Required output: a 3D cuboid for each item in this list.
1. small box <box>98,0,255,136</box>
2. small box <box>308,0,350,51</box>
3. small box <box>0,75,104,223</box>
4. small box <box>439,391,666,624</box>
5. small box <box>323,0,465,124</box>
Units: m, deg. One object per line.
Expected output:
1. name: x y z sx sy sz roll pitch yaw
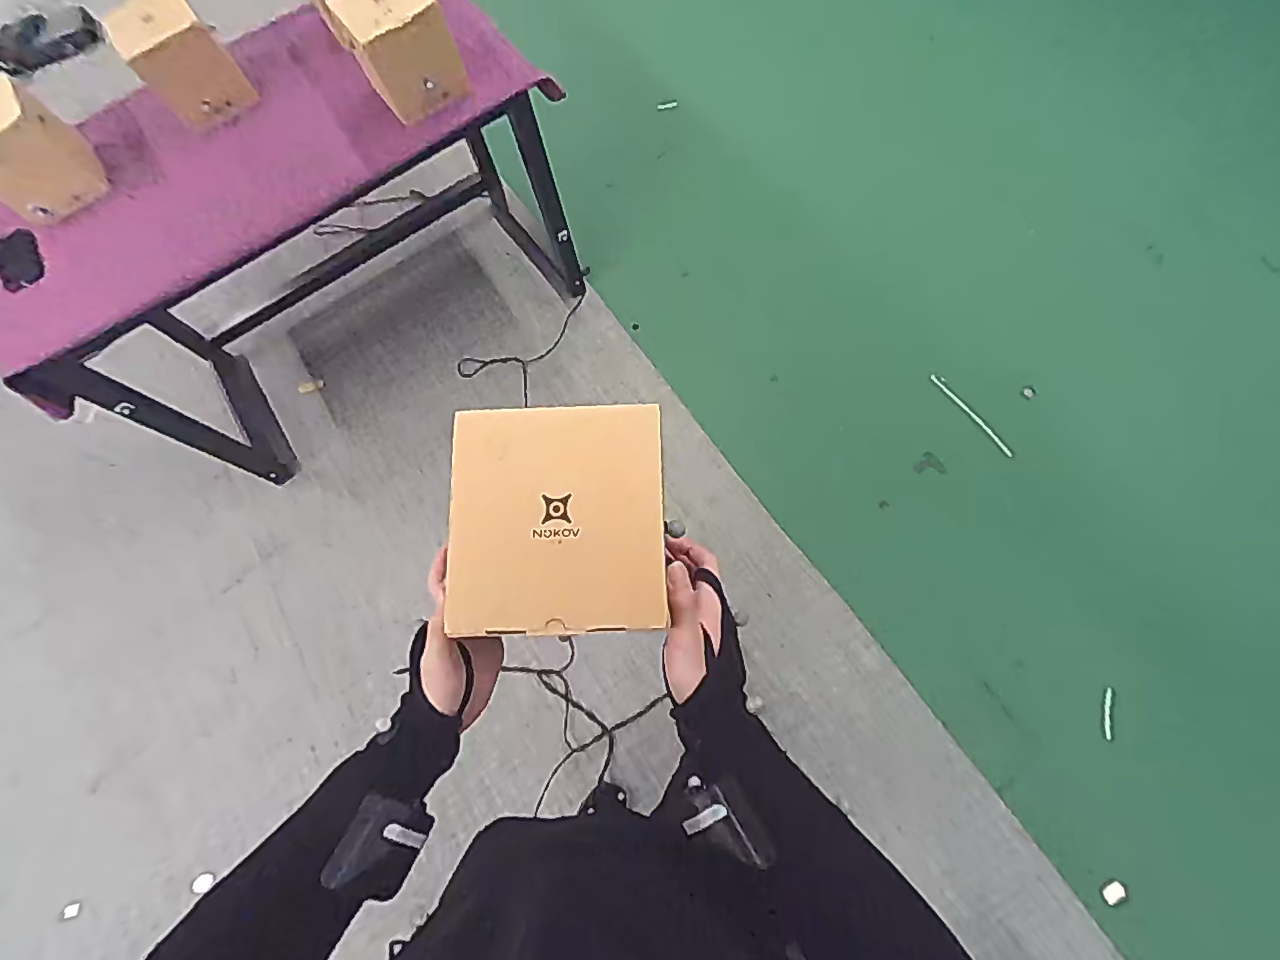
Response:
1. small box: -0.981 -0.889 1.157 0.168 0.176 0.179 -35 72 -6
2. small box: -0.663 -1.108 1.200 0.168 0.176 0.179 -34 71 -5
3. small box: -1.263 -0.662 1.104 0.168 0.176 0.179 -35 71 -7
4. small box: -0.064 0.034 0.483 0.168 0.176 0.179 -2 78 1
5. small box: -0.489 -0.874 1.096 0.168 0.176 0.179 -36 72 -5
